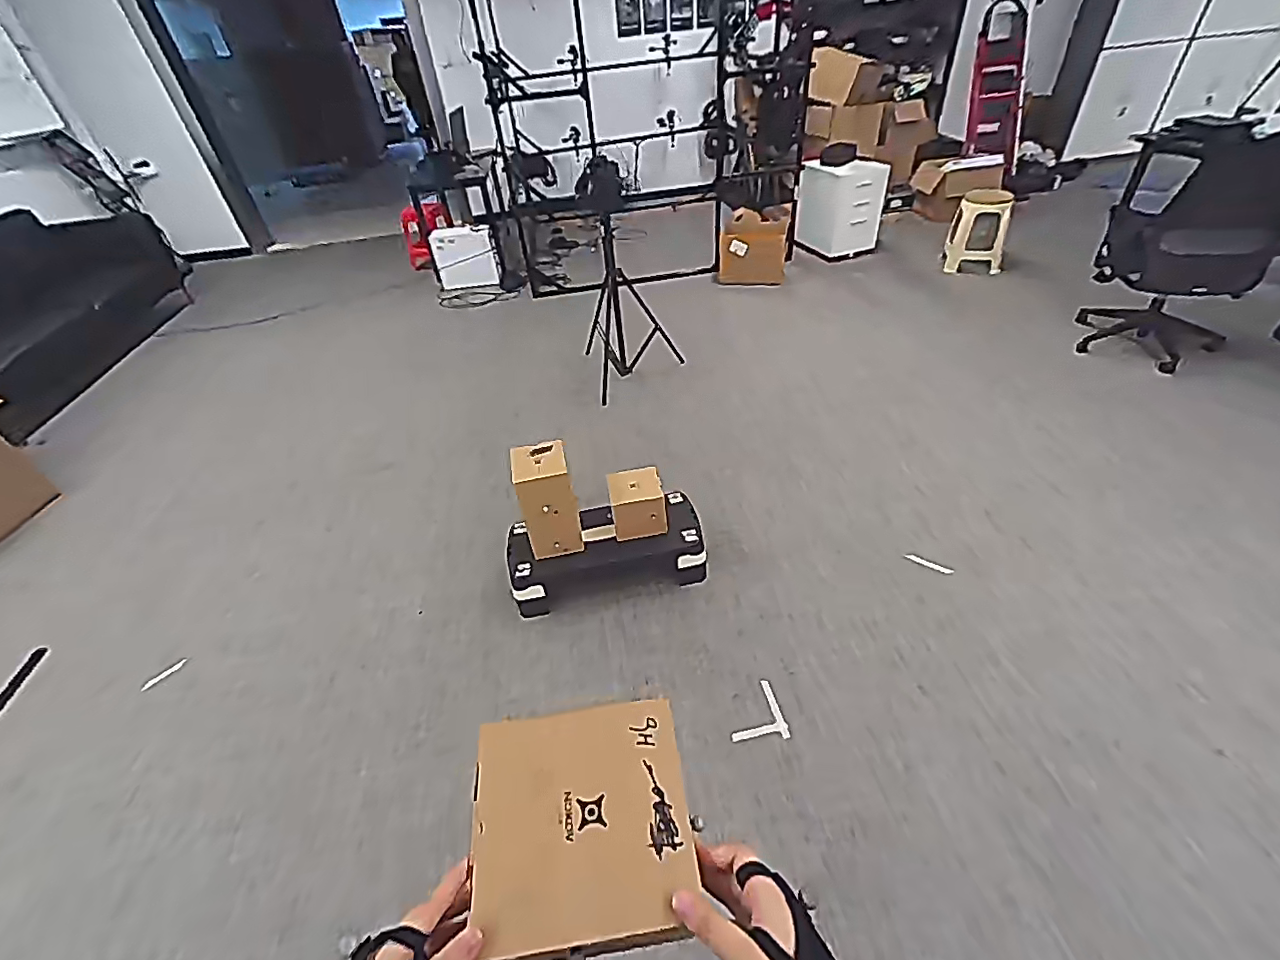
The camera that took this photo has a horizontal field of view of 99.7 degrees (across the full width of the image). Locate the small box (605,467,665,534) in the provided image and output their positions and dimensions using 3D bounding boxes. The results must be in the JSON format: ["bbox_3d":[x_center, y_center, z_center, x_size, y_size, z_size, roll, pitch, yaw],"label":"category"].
[{"bbox_3d":[-0.015,0.083,1.831,0.179,0.176,0.168,-11,39,-5],"label":"small box"}]

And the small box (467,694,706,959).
[{"bbox_3d":[-0.044,0.322,0.496,0.179,0.176,0.168,-6,46,-5],"label":"small box"}]

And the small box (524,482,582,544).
[{"bbox_3d":[-0.290,0.135,1.805,0.168,0.176,0.179,-11,40,-5],"label":"small box"}]

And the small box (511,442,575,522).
[{"bbox_3d":[-0.306,0.007,1.704,0.168,0.176,0.179,-12,41,-7],"label":"small box"}]
